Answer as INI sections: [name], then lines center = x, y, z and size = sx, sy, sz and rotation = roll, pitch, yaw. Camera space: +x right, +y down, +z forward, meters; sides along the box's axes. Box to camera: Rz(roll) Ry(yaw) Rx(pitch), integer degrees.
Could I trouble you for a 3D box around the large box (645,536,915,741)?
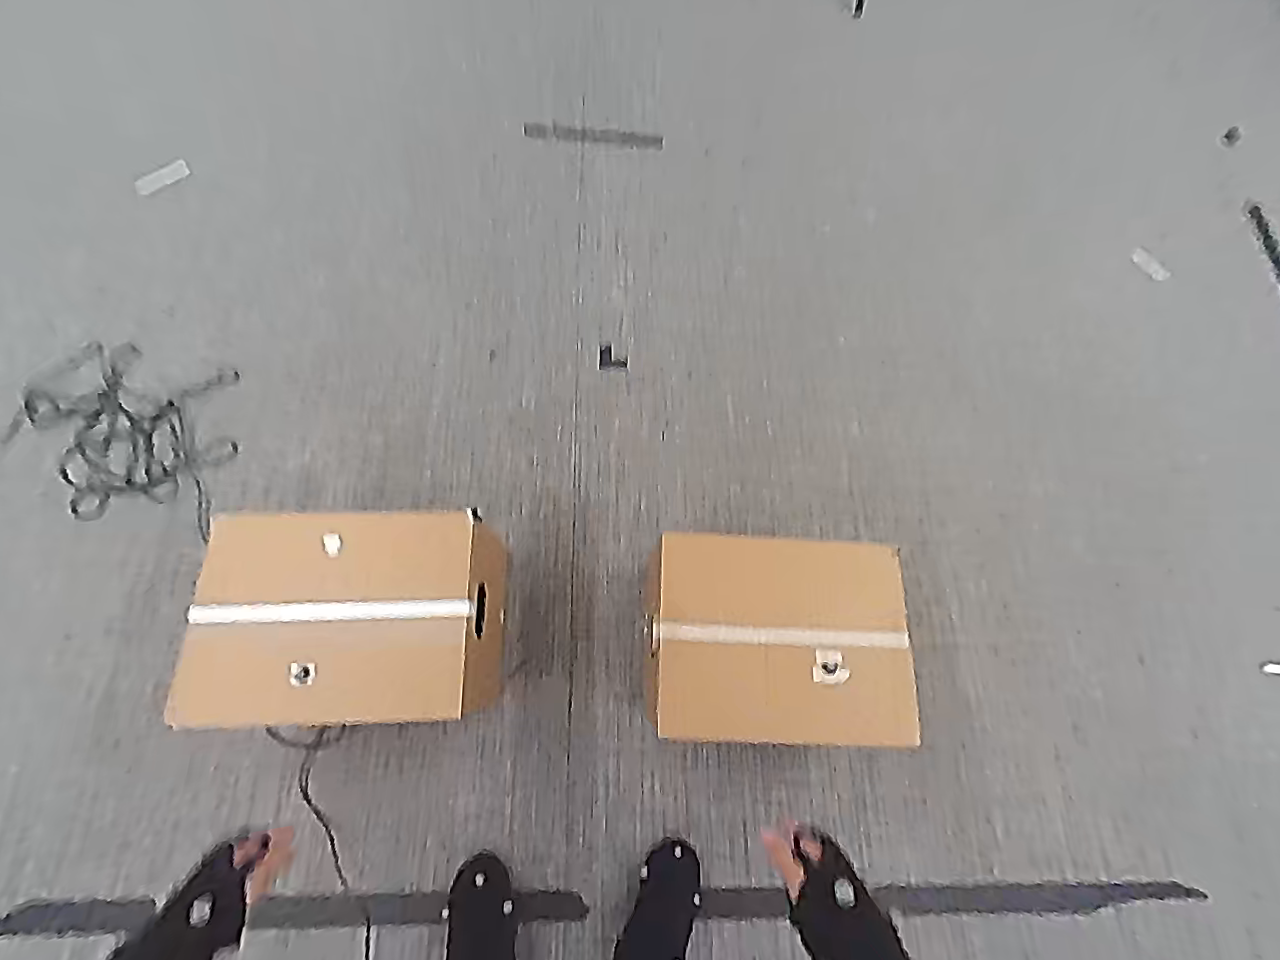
[large box]
center = 0.221, 0.299, 1.012
size = 0.408, 0.320, 0.320
rotation = 4, 71, -4
